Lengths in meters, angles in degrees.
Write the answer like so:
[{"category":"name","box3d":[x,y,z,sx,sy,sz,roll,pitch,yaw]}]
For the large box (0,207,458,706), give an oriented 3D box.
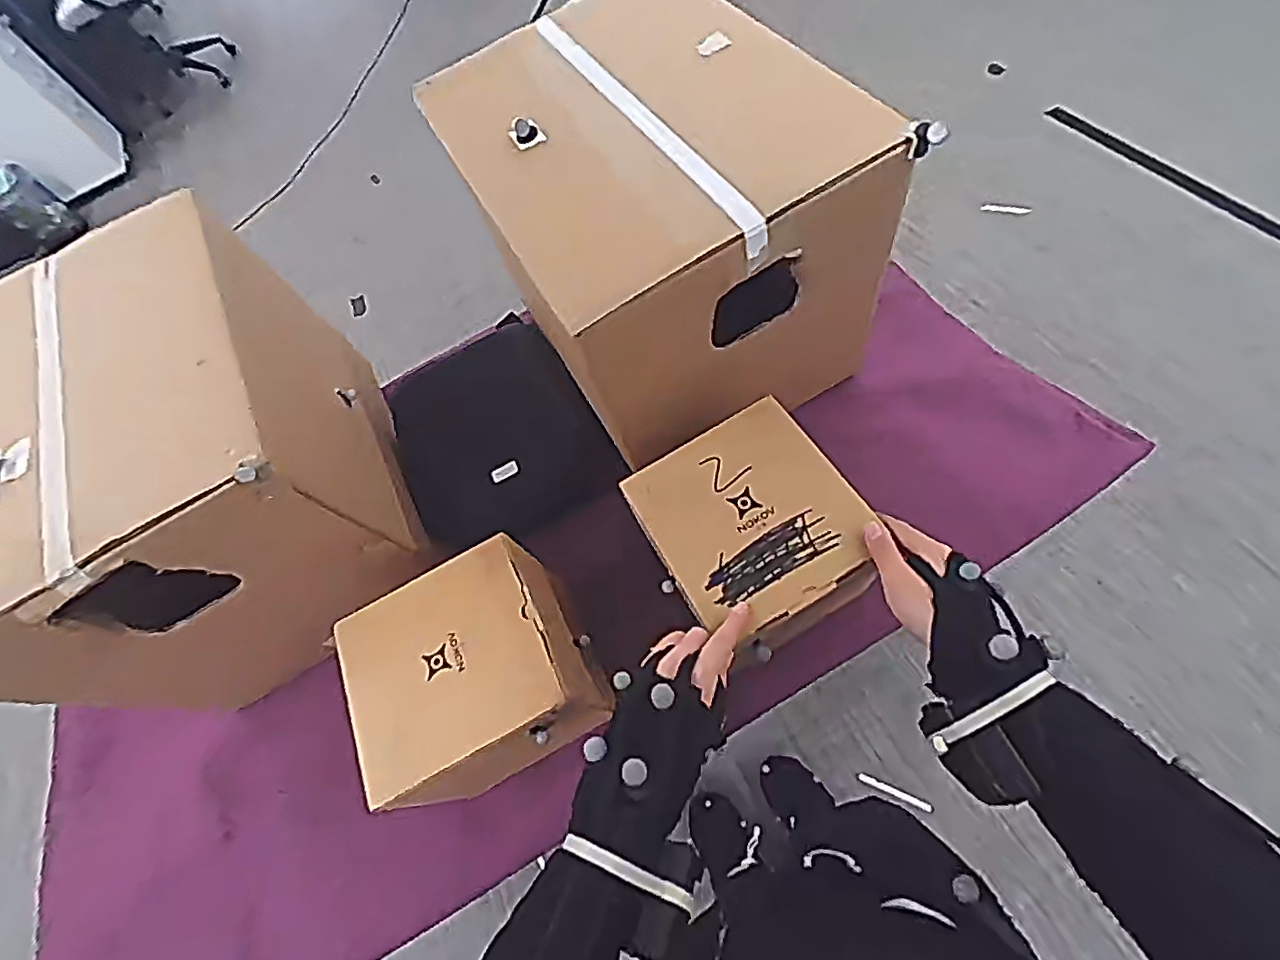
[{"category":"large box","box3d":[-0.476,-0.009,0.616,0.320,0.320,0.408,-33,65,-4]}]
